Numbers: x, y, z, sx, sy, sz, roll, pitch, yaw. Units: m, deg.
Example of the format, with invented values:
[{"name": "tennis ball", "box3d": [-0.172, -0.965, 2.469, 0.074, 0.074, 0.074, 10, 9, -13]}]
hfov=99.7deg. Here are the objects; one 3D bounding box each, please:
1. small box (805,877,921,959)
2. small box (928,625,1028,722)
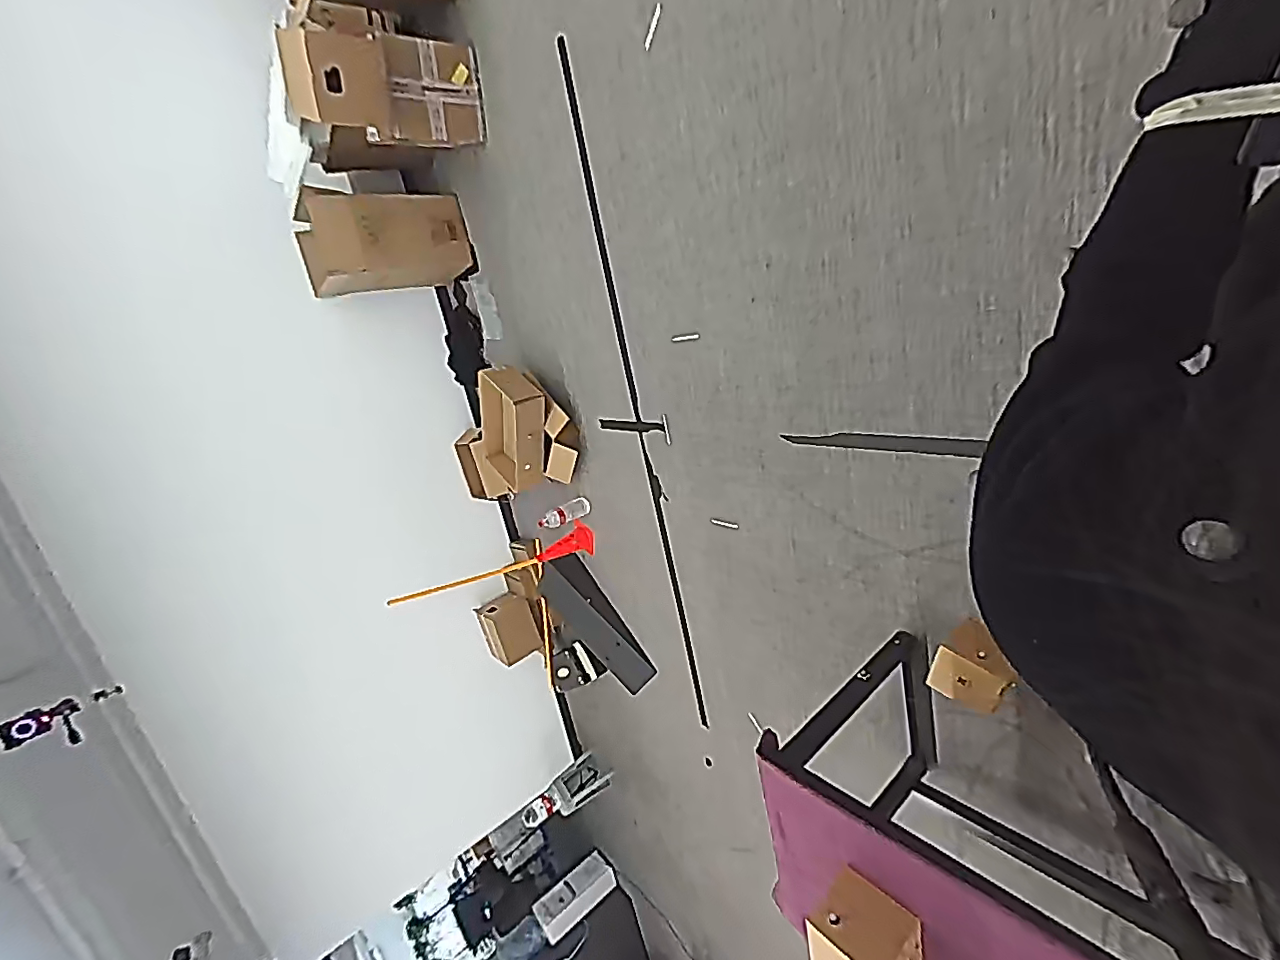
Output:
[{"name": "small box", "box3d": [0.491, 1.026, 1.187, 0.179, 0.176, 0.168, 12, 119, 50]}, {"name": "small box", "box3d": [0.972, 0.546, 1.558, 0.179, 0.176, 0.168, 29, 130, 41]}]
